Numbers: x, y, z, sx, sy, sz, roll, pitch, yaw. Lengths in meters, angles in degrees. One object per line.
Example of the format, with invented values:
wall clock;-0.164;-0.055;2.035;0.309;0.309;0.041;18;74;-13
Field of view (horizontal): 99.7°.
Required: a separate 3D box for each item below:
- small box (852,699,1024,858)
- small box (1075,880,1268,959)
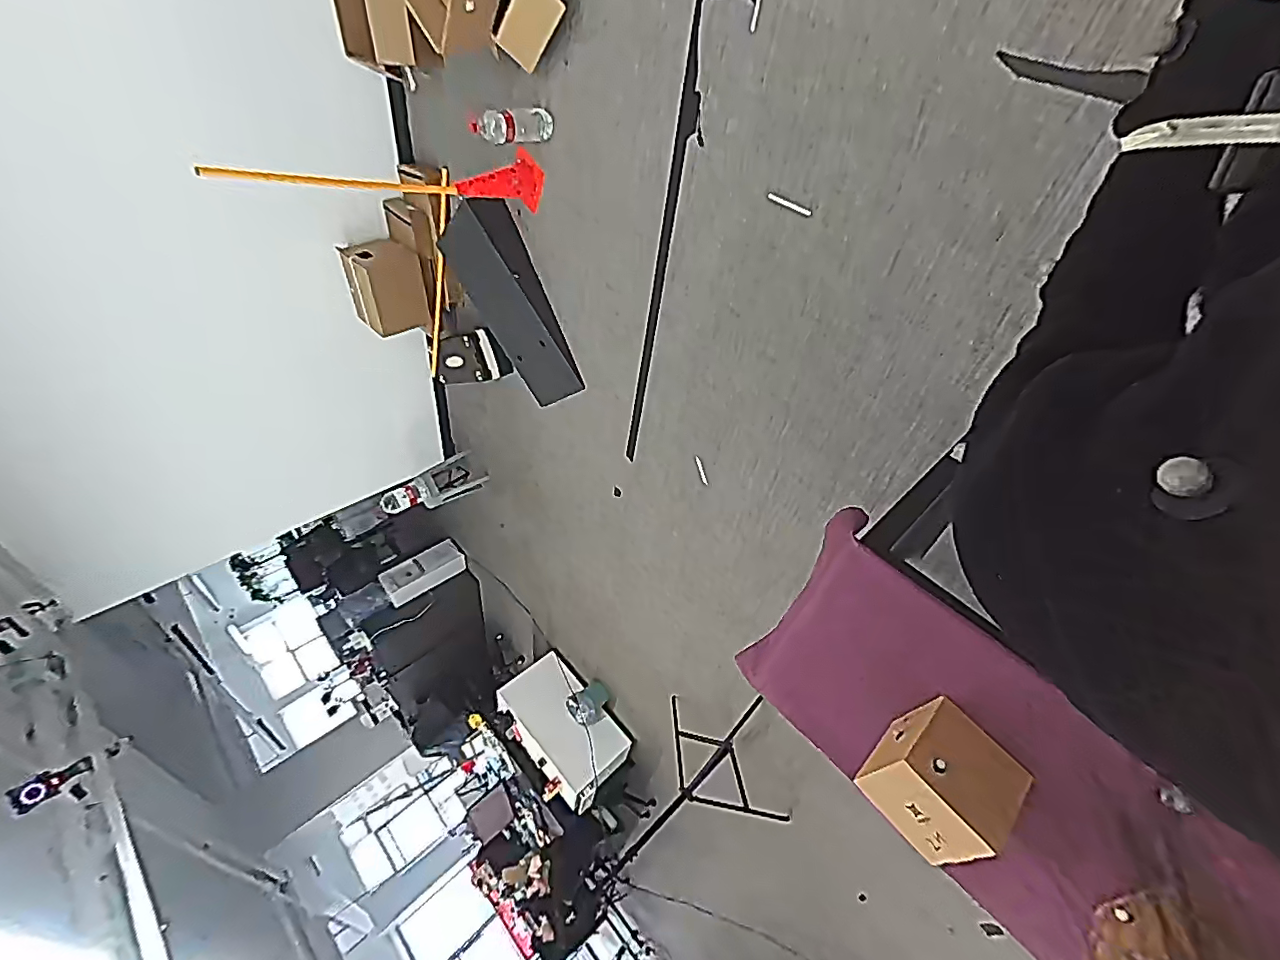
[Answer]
small box;0.523;0.517;0.955;0.179;0.176;0.168;45;144;21
small box;0.785;0.737;0.783;0.179;0.176;0.168;40;141;29
